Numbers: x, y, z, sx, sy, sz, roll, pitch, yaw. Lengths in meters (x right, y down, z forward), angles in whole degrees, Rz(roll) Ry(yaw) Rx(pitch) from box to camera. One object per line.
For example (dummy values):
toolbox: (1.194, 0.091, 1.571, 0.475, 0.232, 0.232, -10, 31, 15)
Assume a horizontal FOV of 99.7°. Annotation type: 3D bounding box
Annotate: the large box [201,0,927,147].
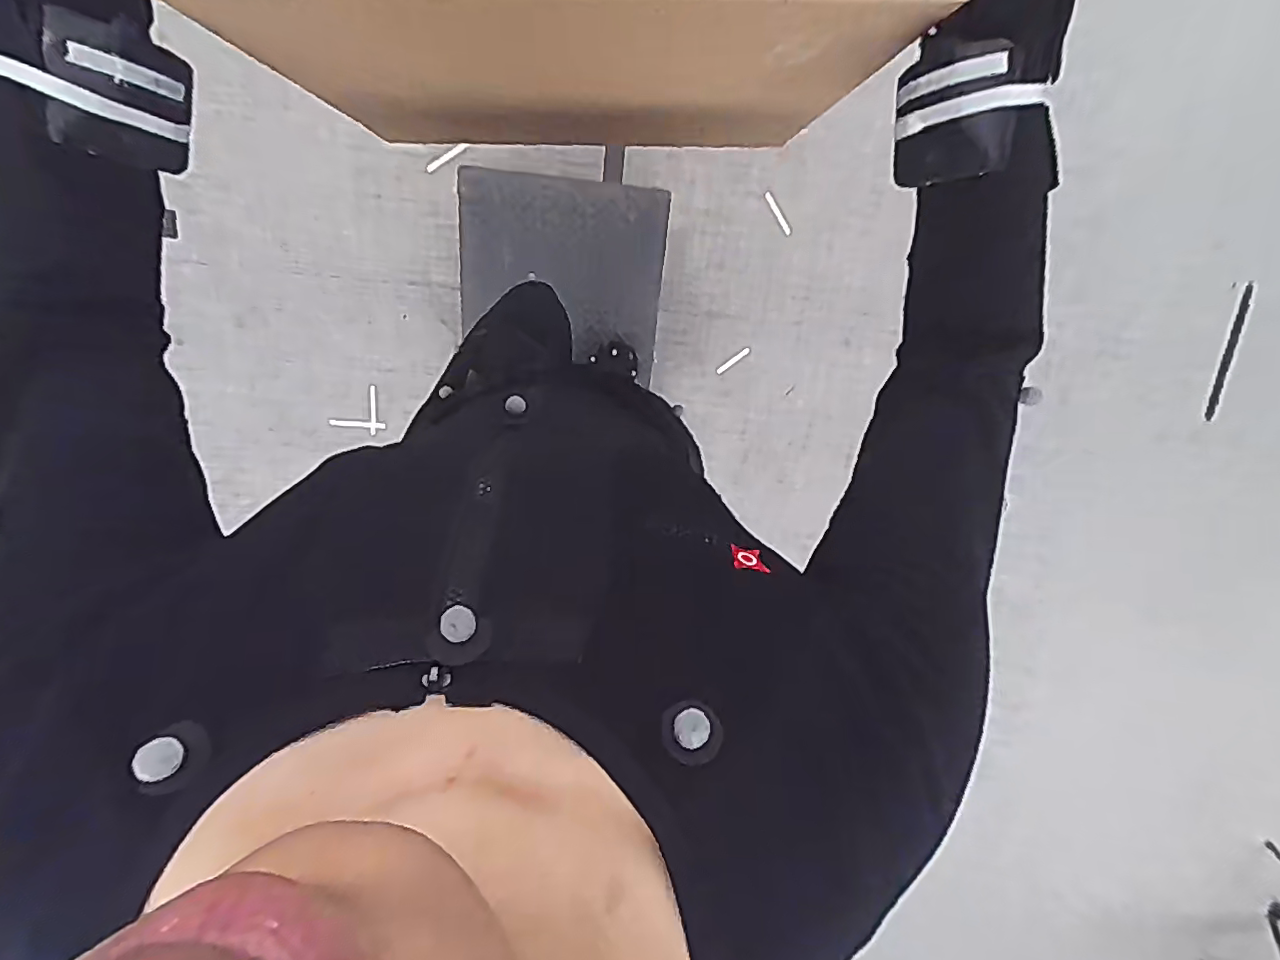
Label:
large box: (-0.046, -0.441, 0.365, 0.408, 0.320, 0.320, -2, 111, -3)
